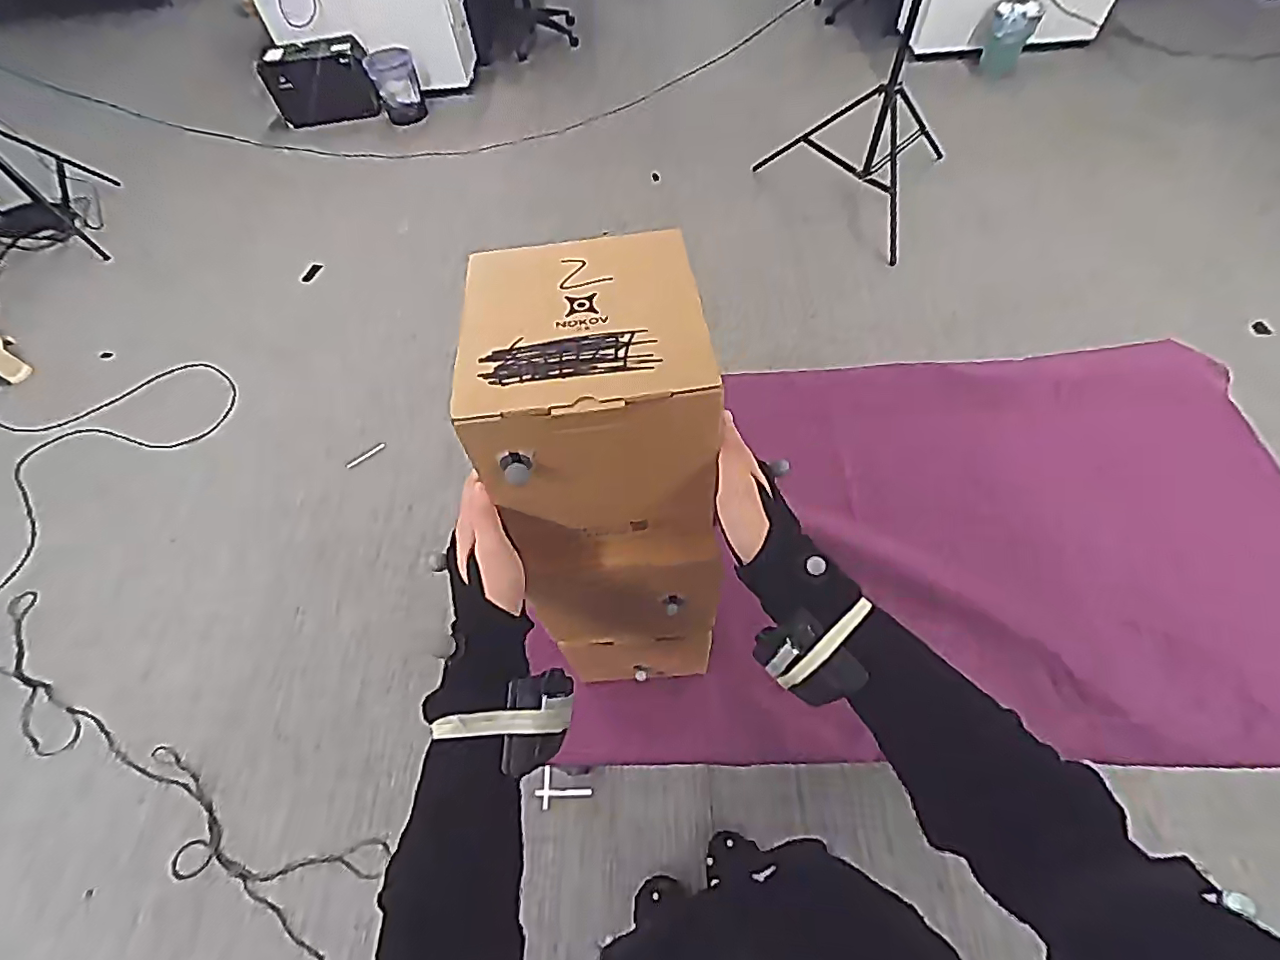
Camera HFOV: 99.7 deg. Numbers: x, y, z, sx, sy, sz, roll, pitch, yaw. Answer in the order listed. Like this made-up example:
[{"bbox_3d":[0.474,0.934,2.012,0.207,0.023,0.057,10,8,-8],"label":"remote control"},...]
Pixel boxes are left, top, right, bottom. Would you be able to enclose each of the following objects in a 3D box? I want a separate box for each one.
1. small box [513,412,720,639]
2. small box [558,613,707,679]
[{"bbox_3d":[-0.019,0.053,0.557,0.179,0.176,0.168,-6,55,1],"label":"small box"},{"bbox_3d":[-0.008,0.142,0.693,0.168,0.176,0.179,-5,57,2],"label":"small box"}]
